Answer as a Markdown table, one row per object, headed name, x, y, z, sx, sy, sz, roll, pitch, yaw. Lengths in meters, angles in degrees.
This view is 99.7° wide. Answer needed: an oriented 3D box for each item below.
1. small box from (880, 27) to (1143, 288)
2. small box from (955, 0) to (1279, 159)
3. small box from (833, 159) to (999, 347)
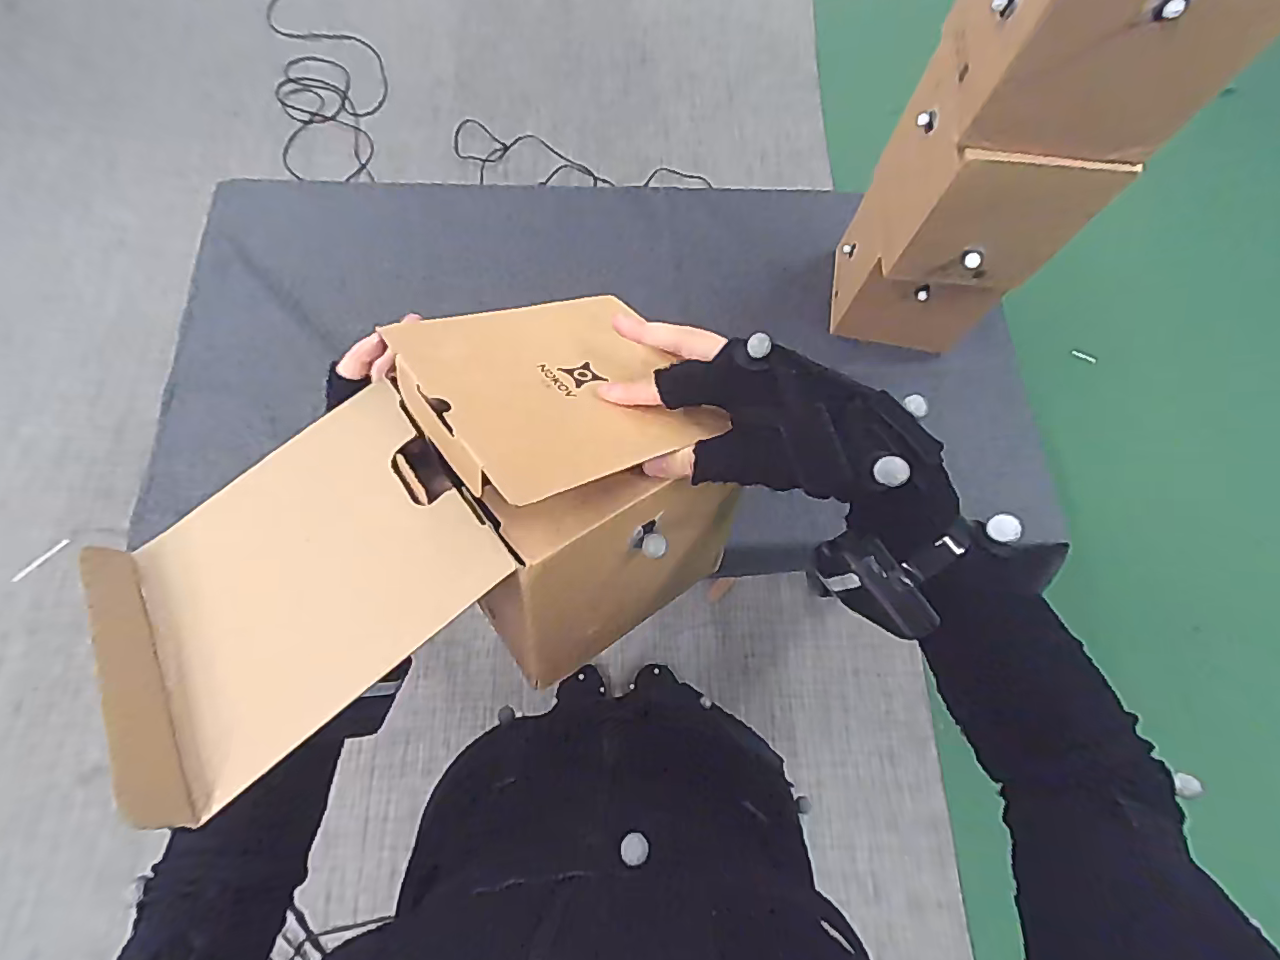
| name | x | y | z | sx | sy | sz | roll | pitch | yaw |
| --- | --- | --- | --- | --- | --- | --- | --- | --- | --- |
| small box | 0.381 | -0.343 | 0.594 | 0.168 | 0.176 | 0.179 | 5 | 72 | 0 |
| small box | 0.383 | -0.397 | 0.440 | 0.179 | 0.176 | 0.168 | 7 | 72 | 1 |
| small box | 0.386 | -0.307 | 0.755 | 0.179 | 0.176 | 0.168 | 11 | 72 | 2 |
